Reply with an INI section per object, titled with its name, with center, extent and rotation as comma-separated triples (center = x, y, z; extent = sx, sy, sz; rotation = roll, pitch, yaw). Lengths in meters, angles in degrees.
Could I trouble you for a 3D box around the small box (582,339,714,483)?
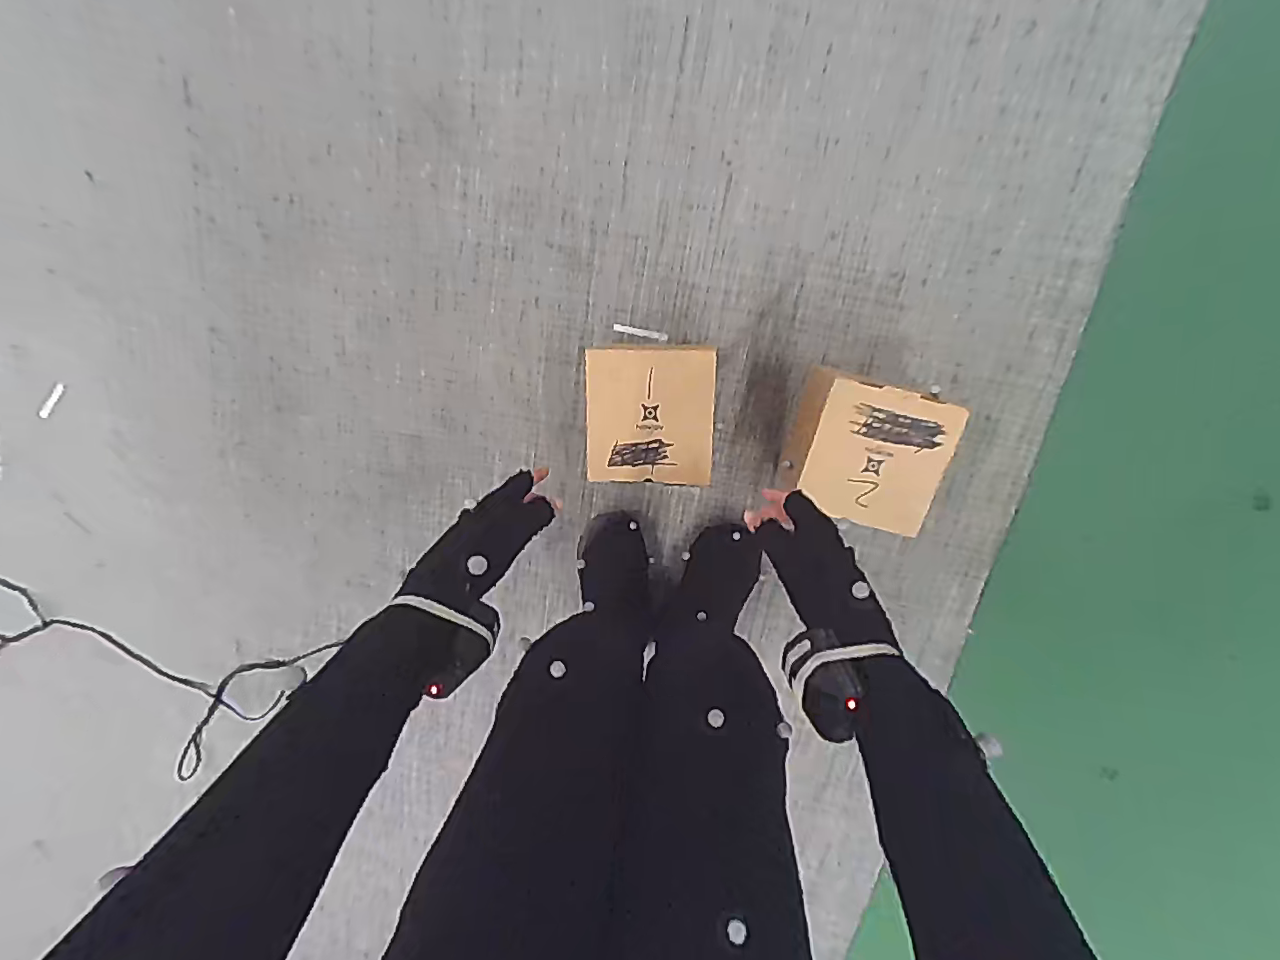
[small box]
center = 0.018, -0.106, 0.765
extent = 0.168, 0.176, 0.179
rotation = 2, 106, 7
